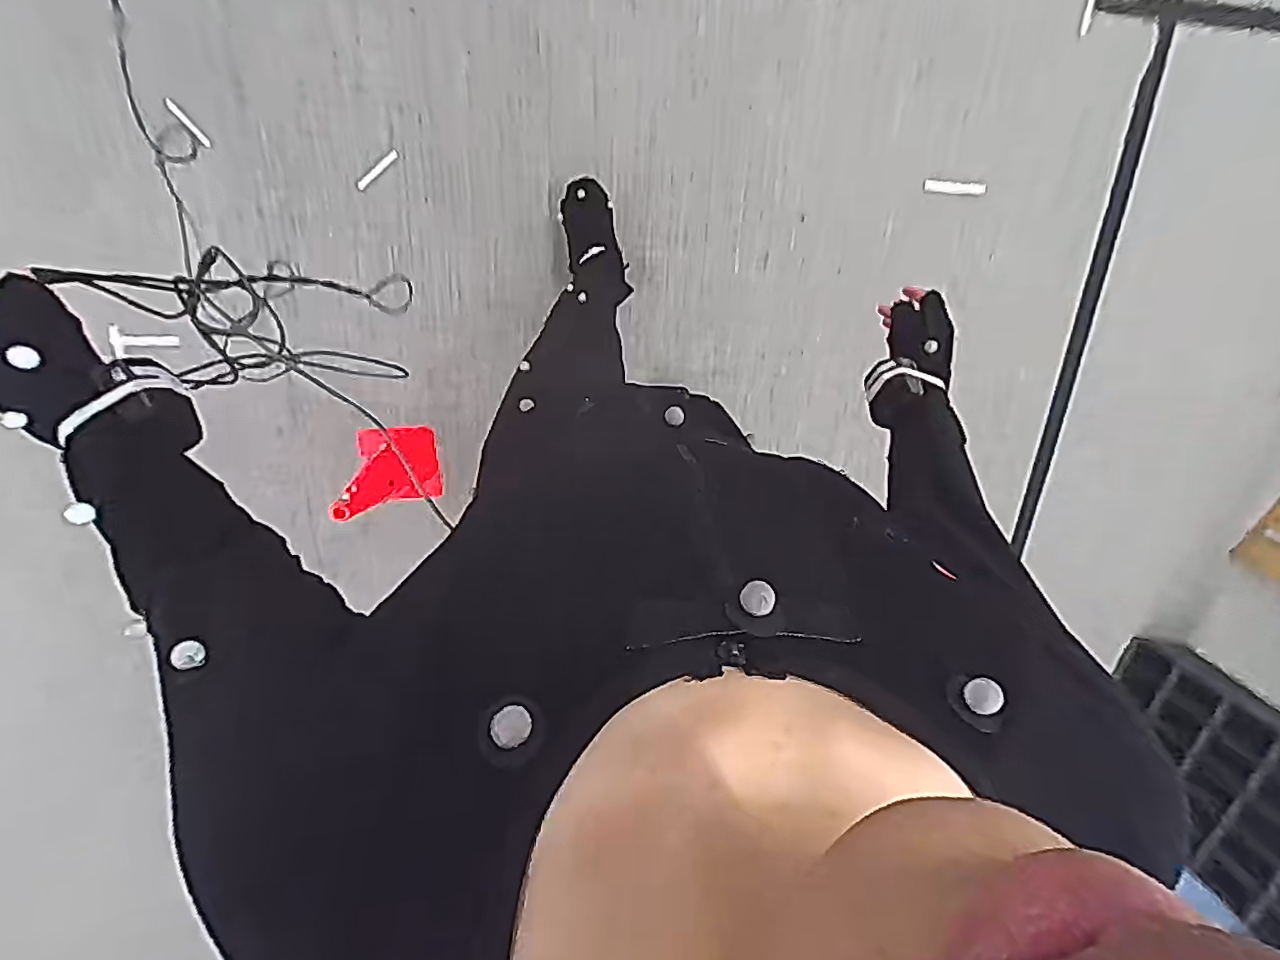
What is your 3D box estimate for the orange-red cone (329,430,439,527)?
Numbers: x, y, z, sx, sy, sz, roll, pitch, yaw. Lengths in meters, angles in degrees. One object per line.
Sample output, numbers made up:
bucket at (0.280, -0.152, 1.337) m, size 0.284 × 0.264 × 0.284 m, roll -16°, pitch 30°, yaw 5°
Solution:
orange-red cone at (-0.626, 0.021, 1.265) m, size 0.199 × 0.360 × 0.198 m, roll -3°, pitch 109°, yaw -4°
